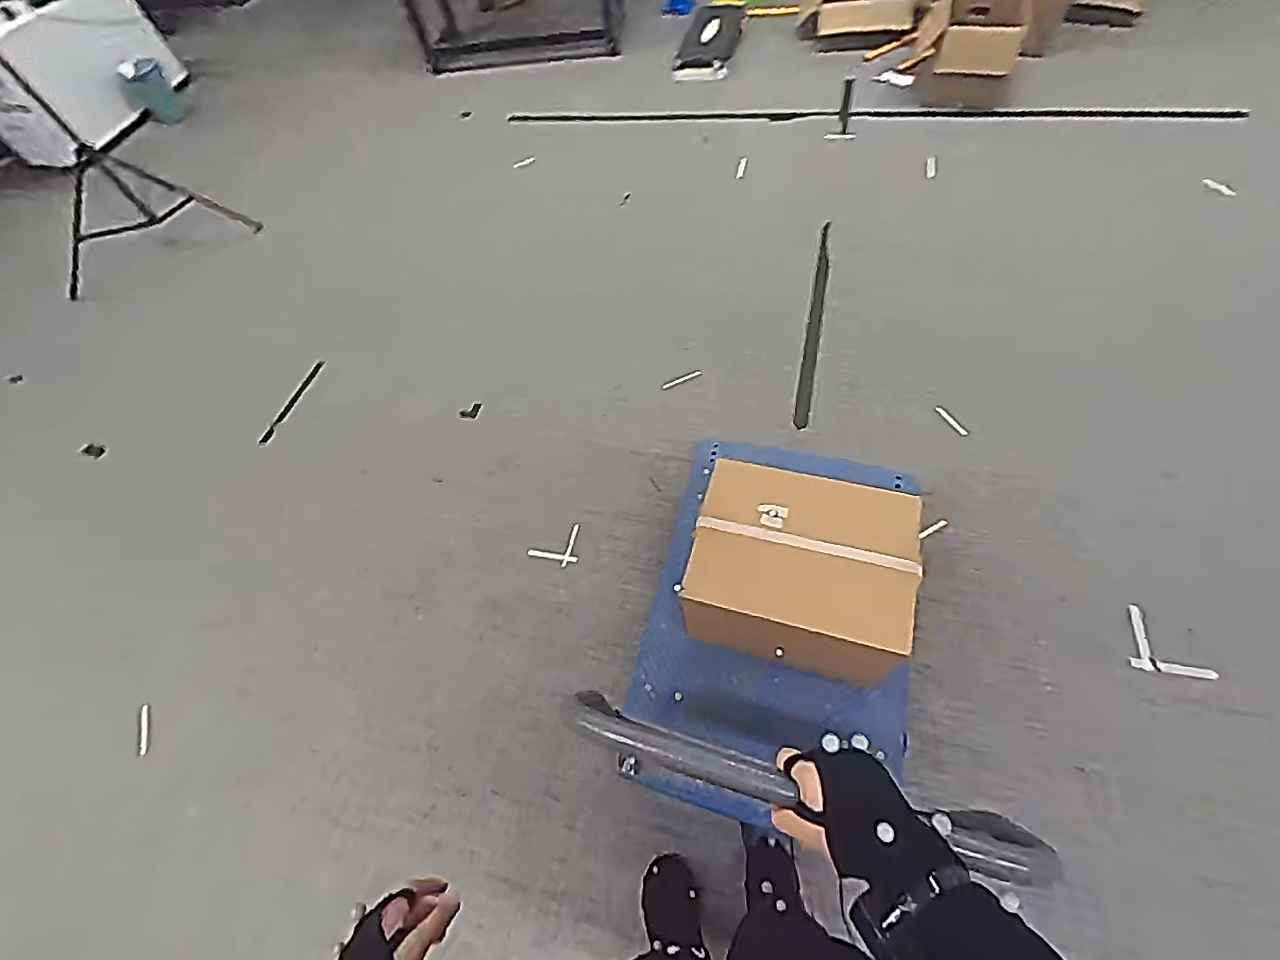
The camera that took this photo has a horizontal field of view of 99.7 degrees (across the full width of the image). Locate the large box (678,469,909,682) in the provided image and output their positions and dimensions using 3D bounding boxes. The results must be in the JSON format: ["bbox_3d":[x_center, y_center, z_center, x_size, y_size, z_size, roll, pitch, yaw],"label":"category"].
[{"bbox_3d":[0.323,0.210,1.165,0.408,0.320,0.320,10,61,15],"label":"large box"}]
